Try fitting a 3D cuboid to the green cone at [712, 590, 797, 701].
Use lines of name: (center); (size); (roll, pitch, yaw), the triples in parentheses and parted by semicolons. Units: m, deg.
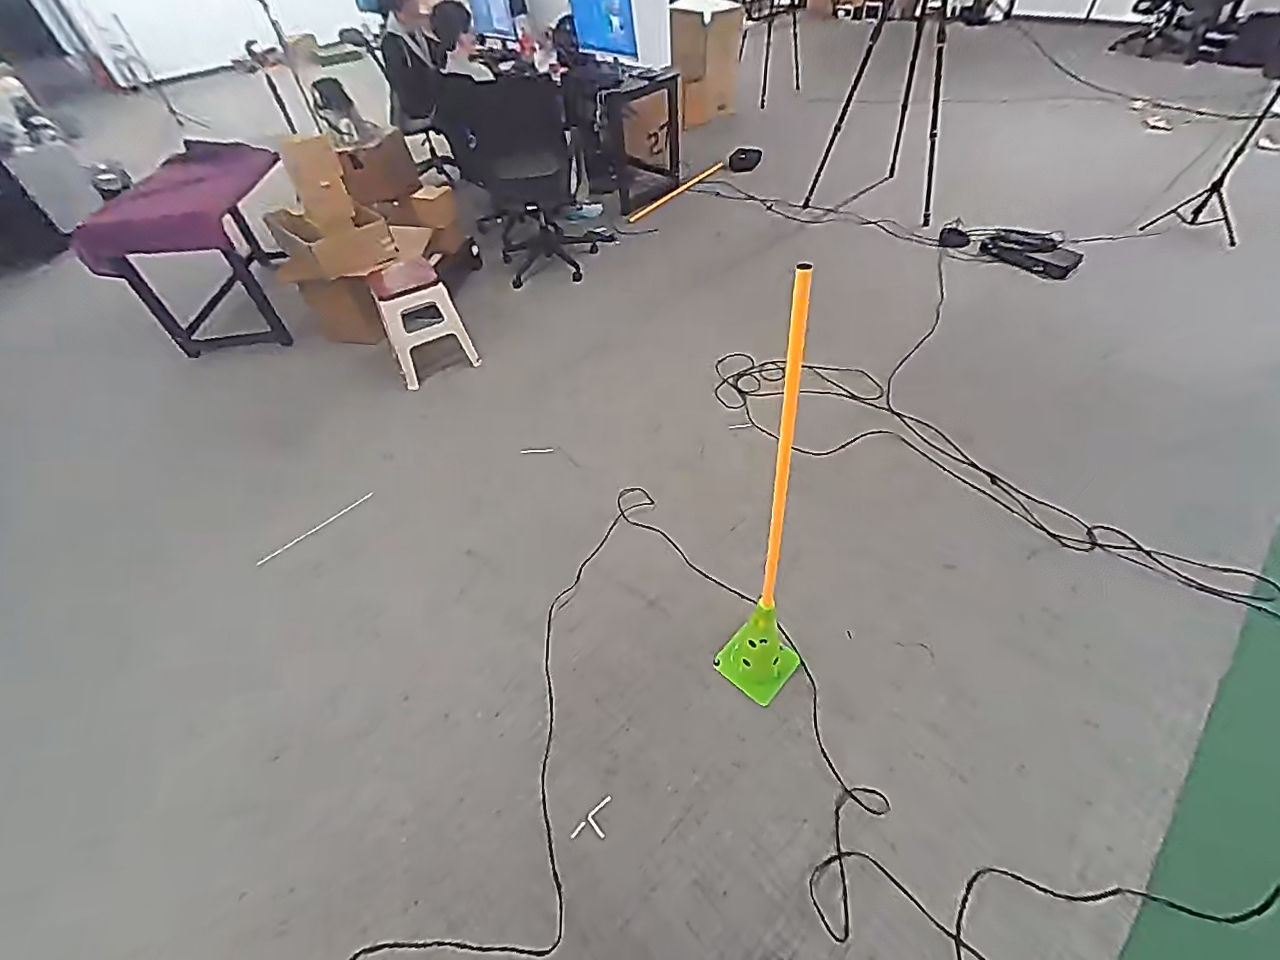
green cone: (0.336, 0.422, 1.504); (0.200, 0.368, 0.202); (33, 58, 29)
